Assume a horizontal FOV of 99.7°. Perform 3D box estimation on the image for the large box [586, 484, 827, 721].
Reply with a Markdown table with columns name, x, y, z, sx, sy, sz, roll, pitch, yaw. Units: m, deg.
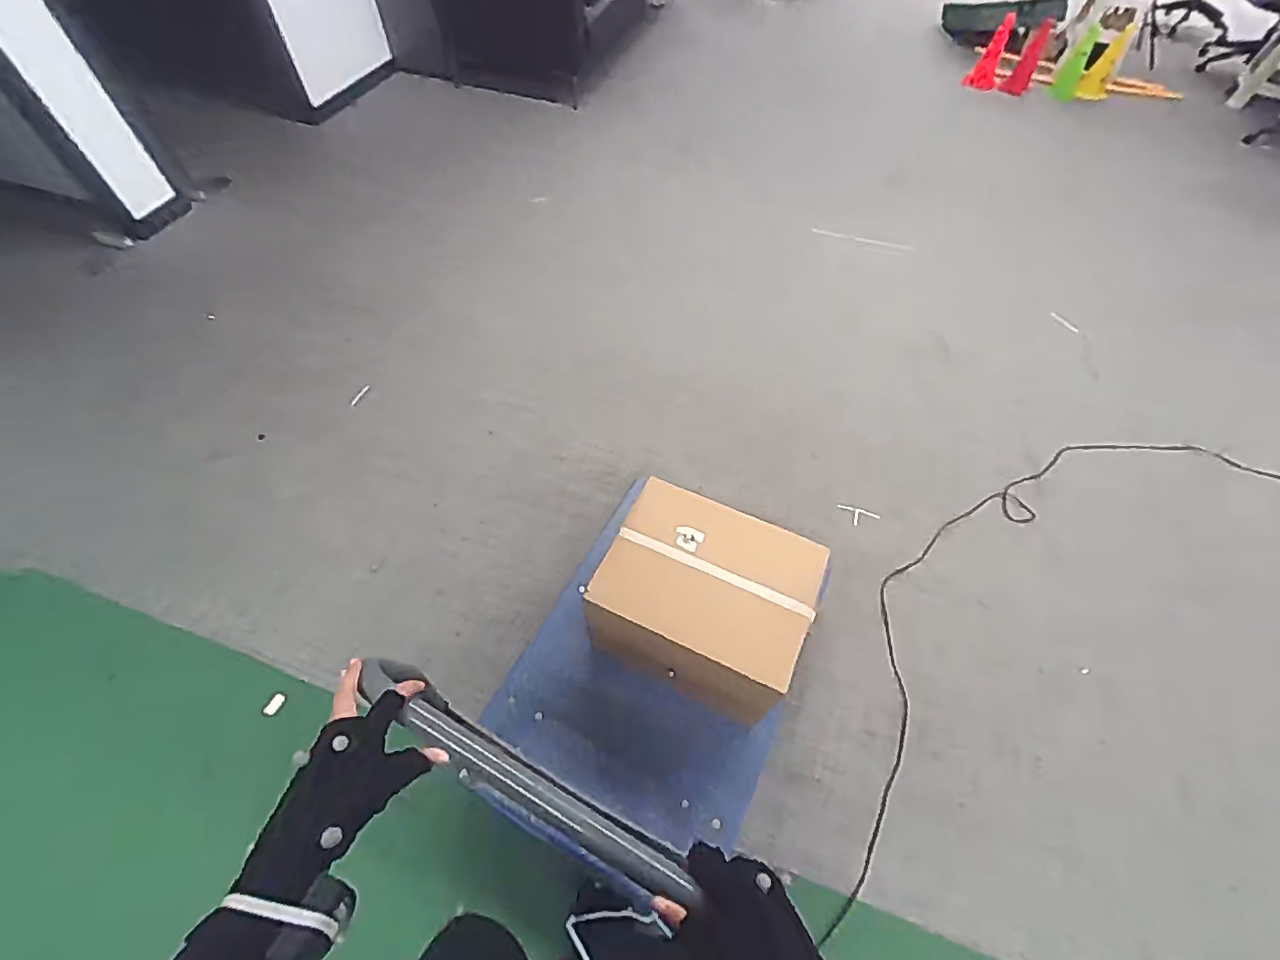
| name | x | y | z | sx | sy | sz | roll | pitch | yaw |
| --- | --- | --- | --- | --- | --- | --- | --- | --- | --- |
| large box | 0.140 | 0.271 | 1.181 | 0.408 | 0.320 | 0.320 | 21 | 57 | 14 |
